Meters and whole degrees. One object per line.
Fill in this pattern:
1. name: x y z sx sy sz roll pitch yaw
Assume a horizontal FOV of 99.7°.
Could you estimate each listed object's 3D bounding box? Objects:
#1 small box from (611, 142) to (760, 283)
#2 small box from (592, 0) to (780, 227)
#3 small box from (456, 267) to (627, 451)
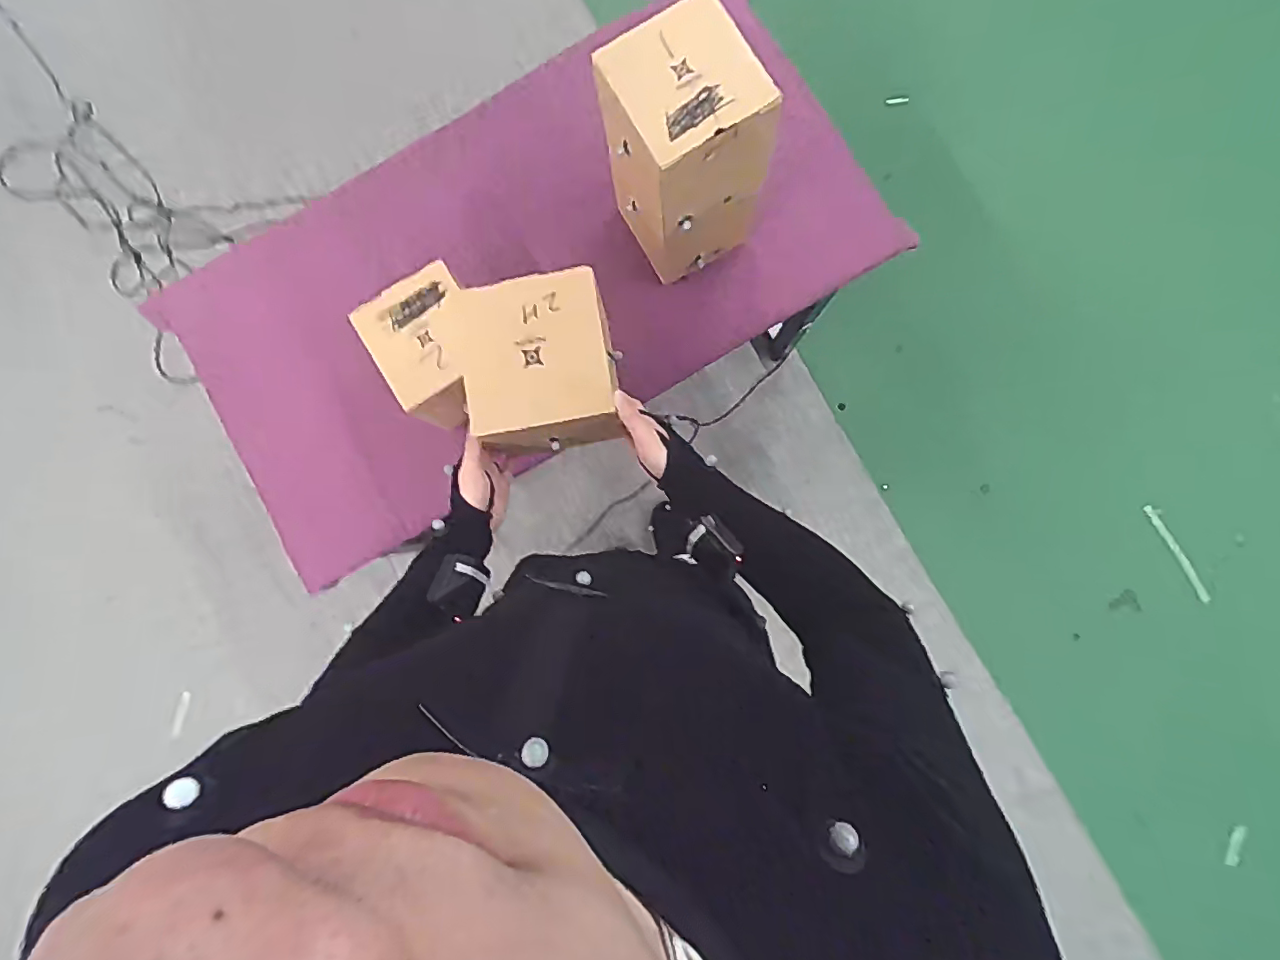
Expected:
1. small box: 0.070 -0.459 0.876 0.168 0.176 0.179 -29 84 2
2. small box: 0.060 -0.468 0.713 0.168 0.176 0.179 -29 83 2
3. small box: -0.112 -0.137 0.684 0.168 0.176 0.179 -9 84 2
